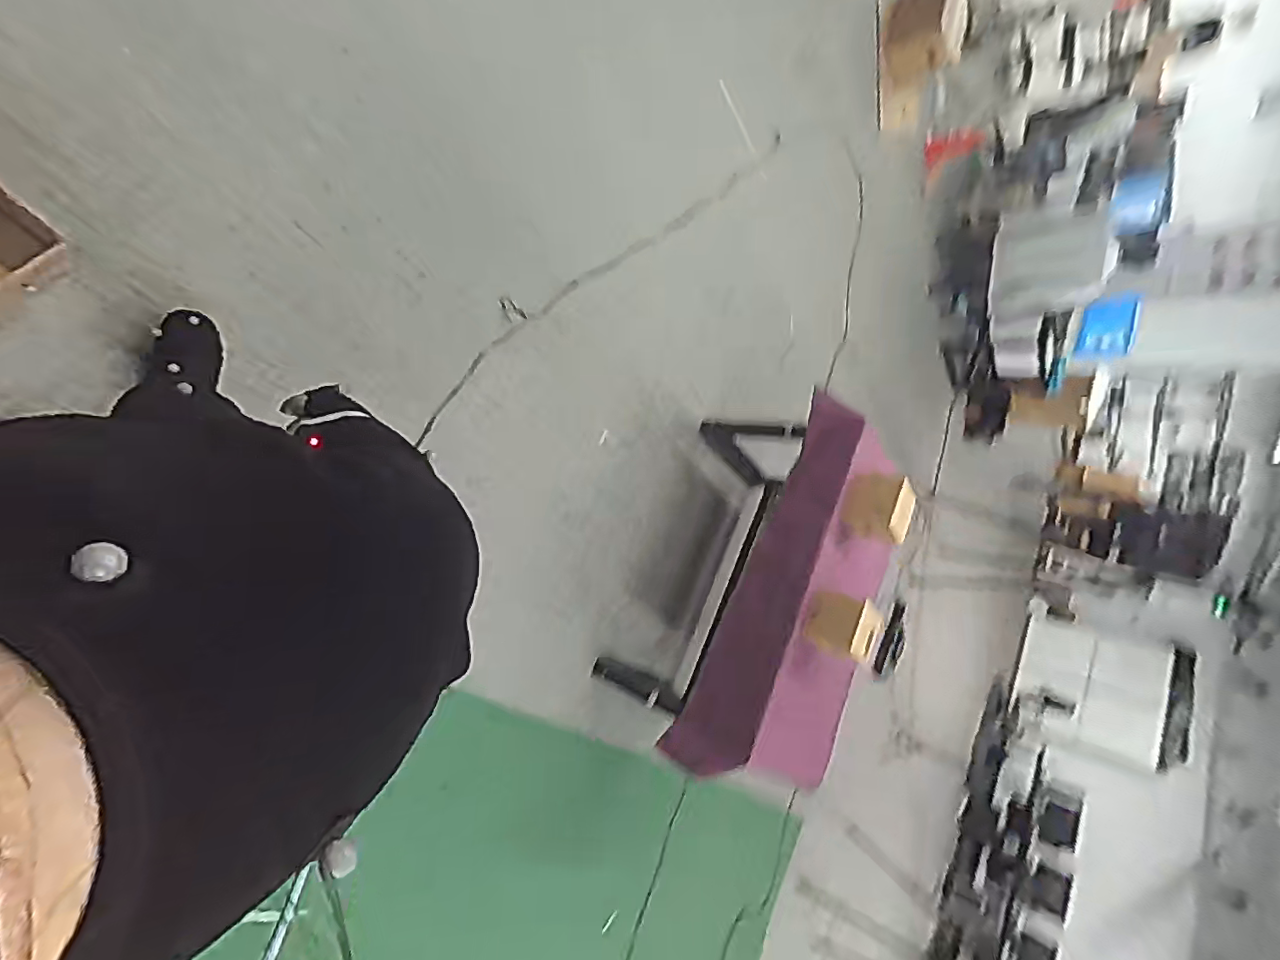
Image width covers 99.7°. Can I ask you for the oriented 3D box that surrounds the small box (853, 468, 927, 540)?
[{"bbox_3d":[0.843,0.077,1.835,0.168,0.176,0.179,42,68,-41],"label":"small box"}]
